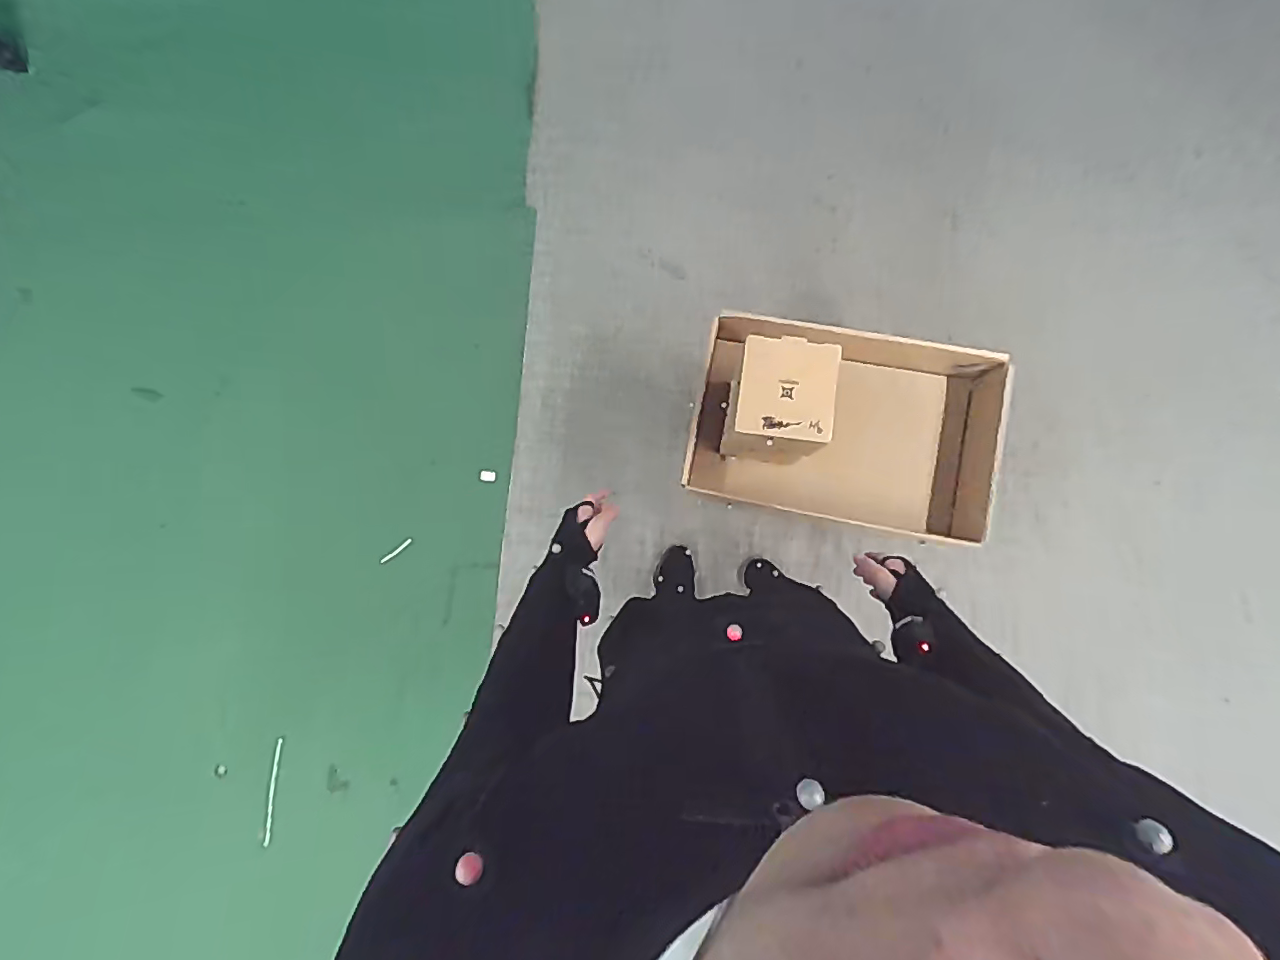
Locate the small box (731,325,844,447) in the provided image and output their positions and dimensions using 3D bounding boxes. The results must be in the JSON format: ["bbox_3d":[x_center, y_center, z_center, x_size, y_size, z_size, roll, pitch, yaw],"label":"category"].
[{"bbox_3d":[0.265,-0.168,1.008,0.168,0.176,0.179,9,86,7],"label":"small box"}]

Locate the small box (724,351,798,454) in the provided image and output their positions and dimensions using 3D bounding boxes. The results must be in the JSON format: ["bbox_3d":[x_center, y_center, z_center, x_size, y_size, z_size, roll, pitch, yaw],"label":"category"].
[{"bbox_3d":[0.278,-0.160,1.171,0.168,0.176,0.179,11,86,6],"label":"small box"}]
